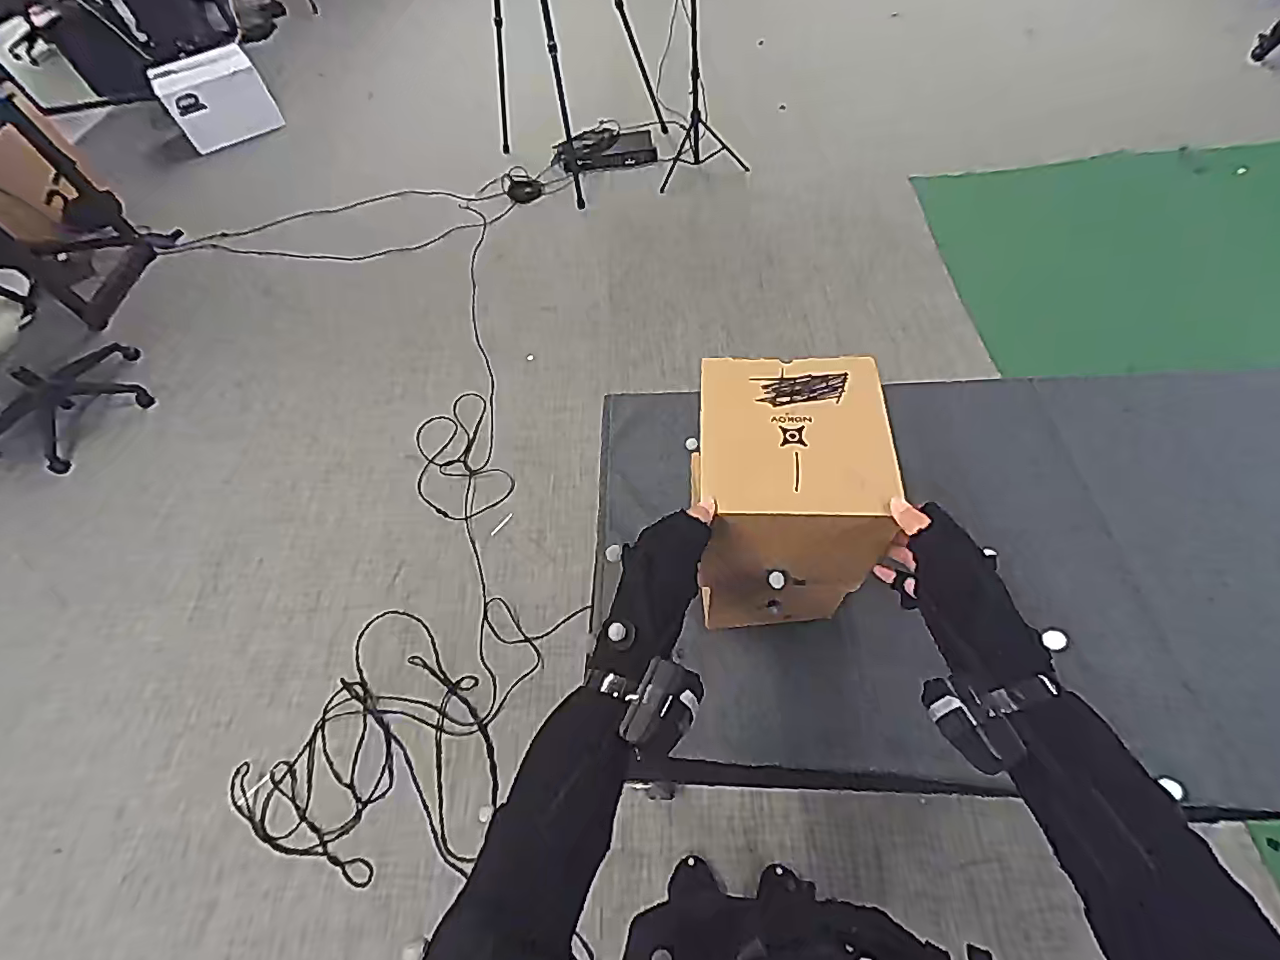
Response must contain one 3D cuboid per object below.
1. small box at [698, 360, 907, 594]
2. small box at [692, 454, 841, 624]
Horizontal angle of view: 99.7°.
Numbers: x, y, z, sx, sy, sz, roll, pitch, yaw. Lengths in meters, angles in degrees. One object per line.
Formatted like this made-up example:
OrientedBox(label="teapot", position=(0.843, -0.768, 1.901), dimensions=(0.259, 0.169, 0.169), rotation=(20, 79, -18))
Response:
OrientedBox(label="small box", position=(0.143, 0.000, 0.546), dimensions=(0.168, 0.176, 0.179), rotation=(0, 58, 7))
OrientedBox(label="small box", position=(0.159, 0.076, 0.692), dimensions=(0.168, 0.176, 0.179), rotation=(-6, 56, 2))
